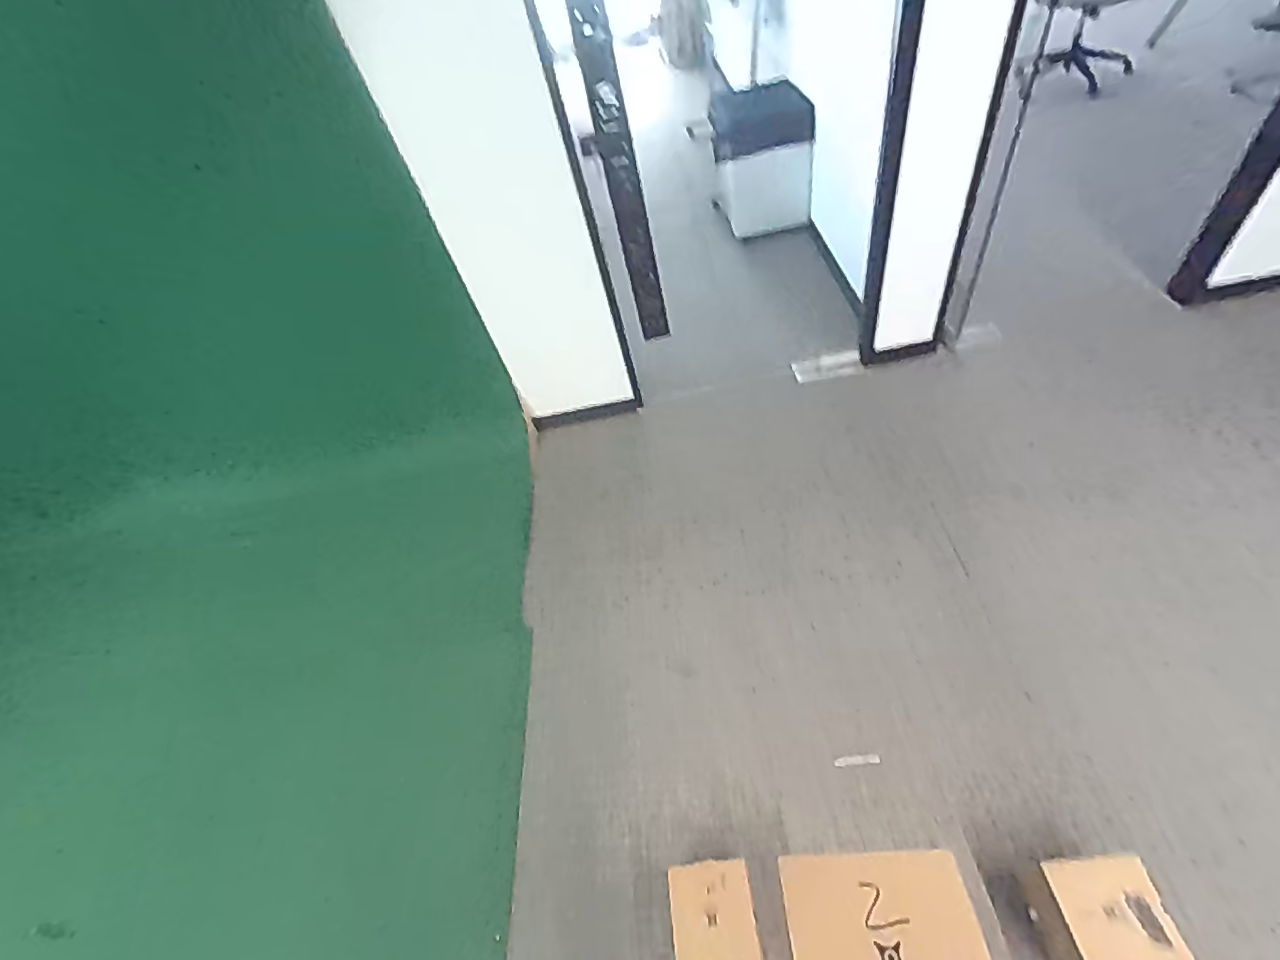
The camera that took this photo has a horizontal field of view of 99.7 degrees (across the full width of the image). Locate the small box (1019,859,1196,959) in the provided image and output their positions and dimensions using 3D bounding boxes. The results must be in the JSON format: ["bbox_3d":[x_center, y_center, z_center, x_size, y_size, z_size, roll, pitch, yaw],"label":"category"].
[{"bbox_3d":[0.863,0.823,1.016,0.179,0.176,0.168,-10,48,7],"label":"small box"}]

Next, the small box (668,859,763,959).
[{"bbox_3d":[0.159,0.914,1.133,0.168,0.176,0.179,-10,48,6],"label":"small box"}]
